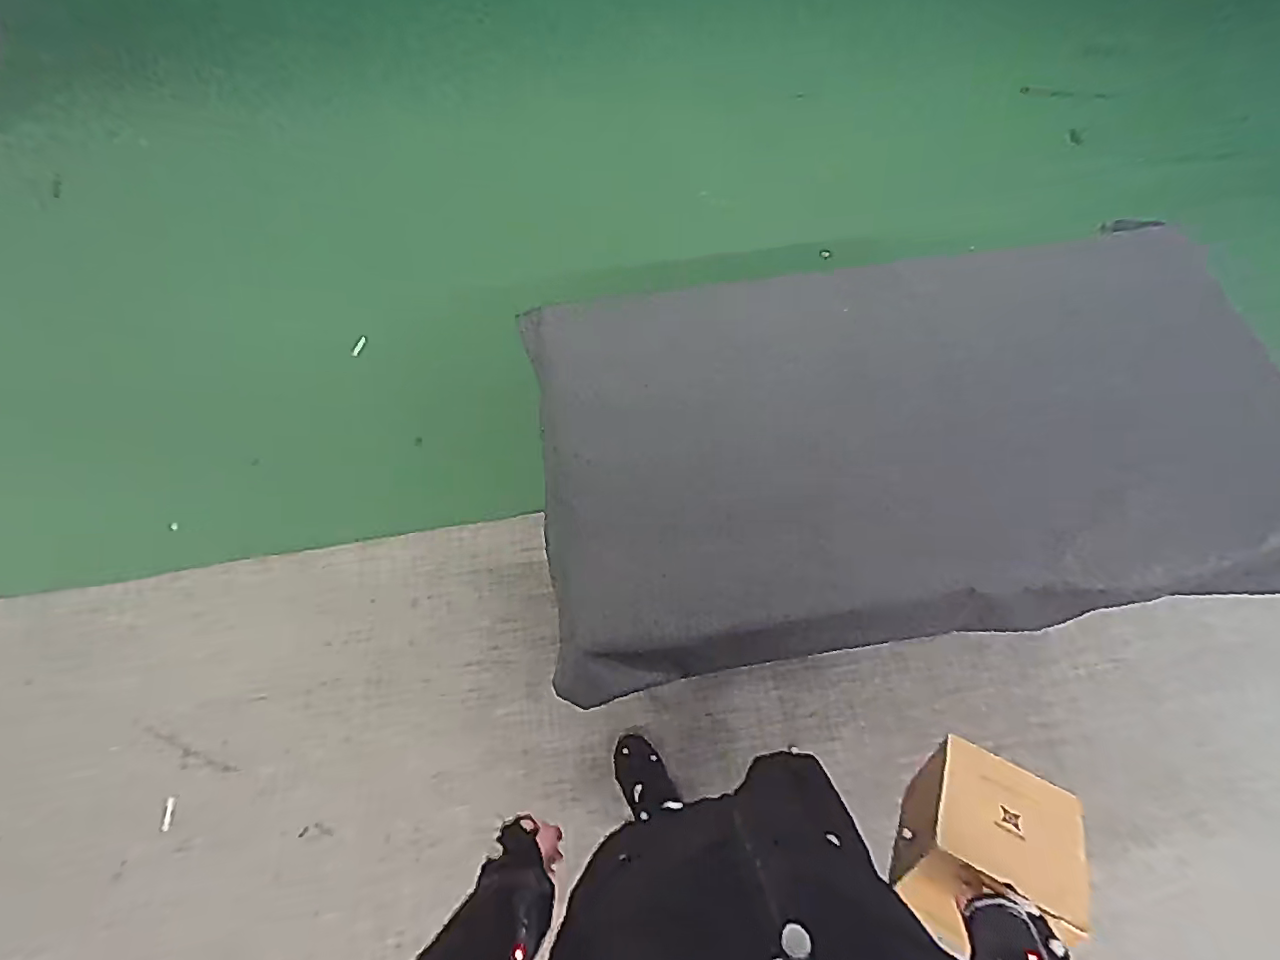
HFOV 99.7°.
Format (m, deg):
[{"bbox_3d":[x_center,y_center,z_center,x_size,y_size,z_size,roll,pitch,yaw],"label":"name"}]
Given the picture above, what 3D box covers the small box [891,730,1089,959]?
[{"bbox_3d":[0.459,0.491,0.727,0.168,0.176,0.179,25,39,21],"label":"small box"}]
